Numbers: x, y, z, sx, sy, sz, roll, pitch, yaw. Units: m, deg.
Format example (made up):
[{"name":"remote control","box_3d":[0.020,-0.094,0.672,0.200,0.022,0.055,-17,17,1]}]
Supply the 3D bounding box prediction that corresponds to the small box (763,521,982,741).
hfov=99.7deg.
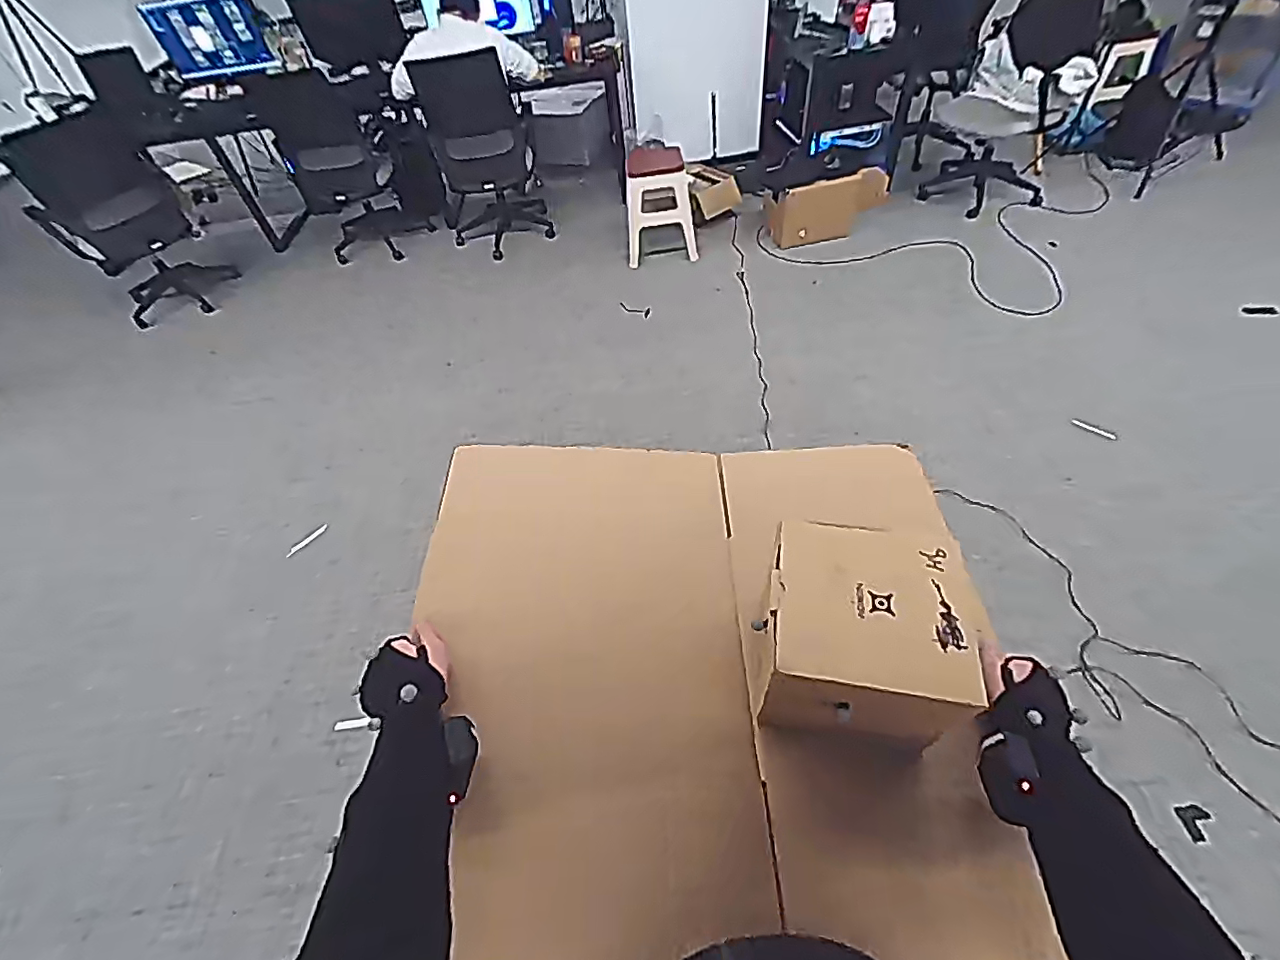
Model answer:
[{"name":"small box","box_3d":[0.229,0.164,0.579,0.179,0.176,0.168,5,53,11]}]
